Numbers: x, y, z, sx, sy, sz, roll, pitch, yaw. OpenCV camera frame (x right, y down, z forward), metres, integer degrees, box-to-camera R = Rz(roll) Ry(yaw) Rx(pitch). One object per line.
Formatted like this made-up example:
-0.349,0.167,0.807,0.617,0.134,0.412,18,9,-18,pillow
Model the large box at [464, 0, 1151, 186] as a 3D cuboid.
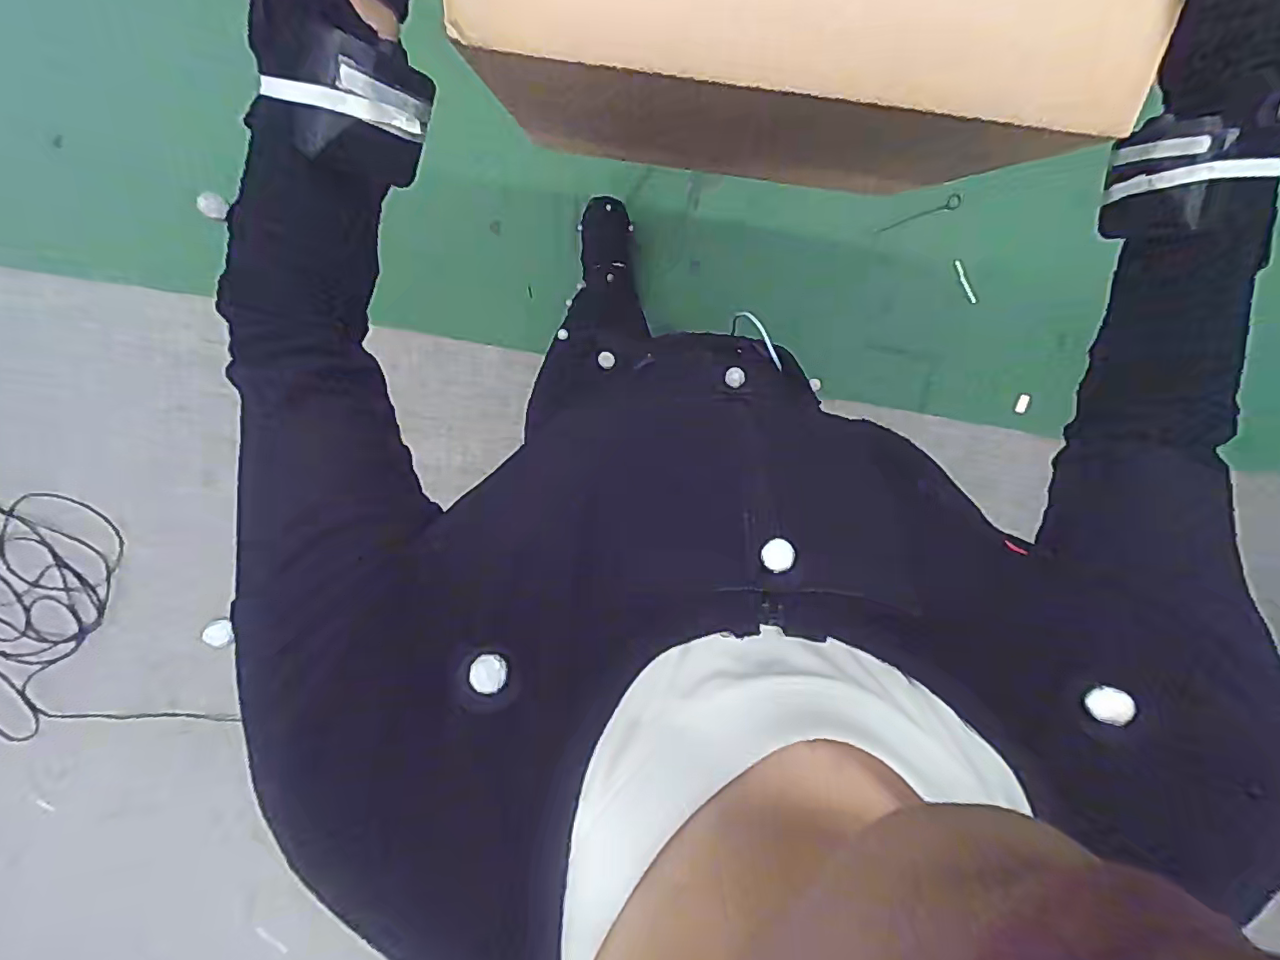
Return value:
0.102,-0.431,0.408,0.408,0.320,0.320,5,112,-3,large box
